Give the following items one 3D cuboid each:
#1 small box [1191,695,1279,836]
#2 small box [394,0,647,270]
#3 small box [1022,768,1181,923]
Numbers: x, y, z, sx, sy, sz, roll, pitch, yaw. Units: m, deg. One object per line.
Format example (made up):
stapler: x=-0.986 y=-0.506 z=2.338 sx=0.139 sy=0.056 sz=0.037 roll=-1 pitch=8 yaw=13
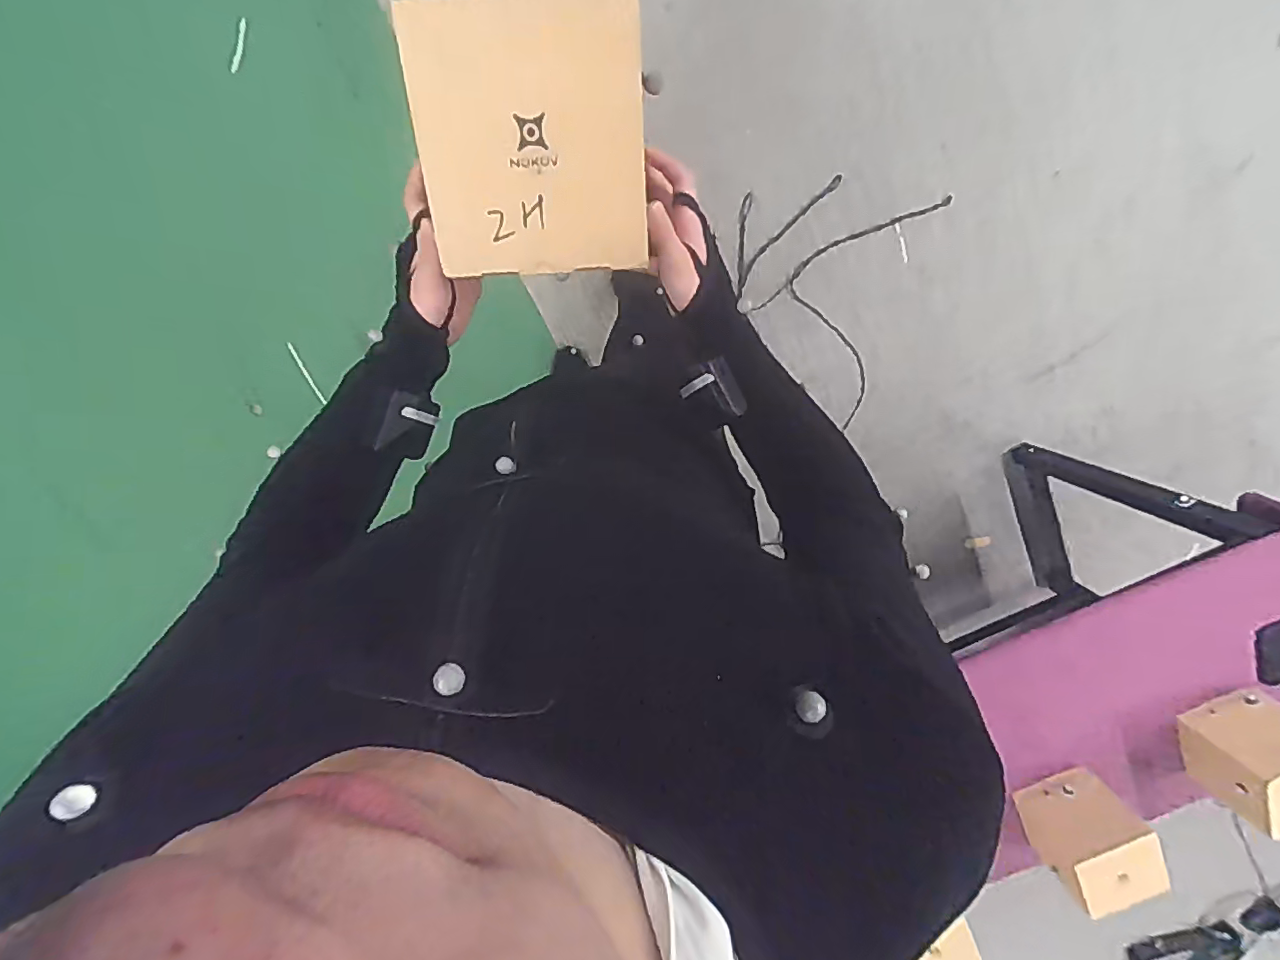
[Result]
small box: x=1.244 y=0.553 z=1.059 sx=0.168 sy=0.176 sz=0.179 roll=-27 pitch=108 yaw=6
small box: x=-0.081 y=-0.280 z=0.463 sx=0.168 sy=0.176 sz=0.179 roll=-2 pitch=116 yaw=1
small box: x=0.930 y=0.737 z=1.103 sx=0.168 sy=0.176 sz=0.179 roll=-27 pitch=107 yaw=5
